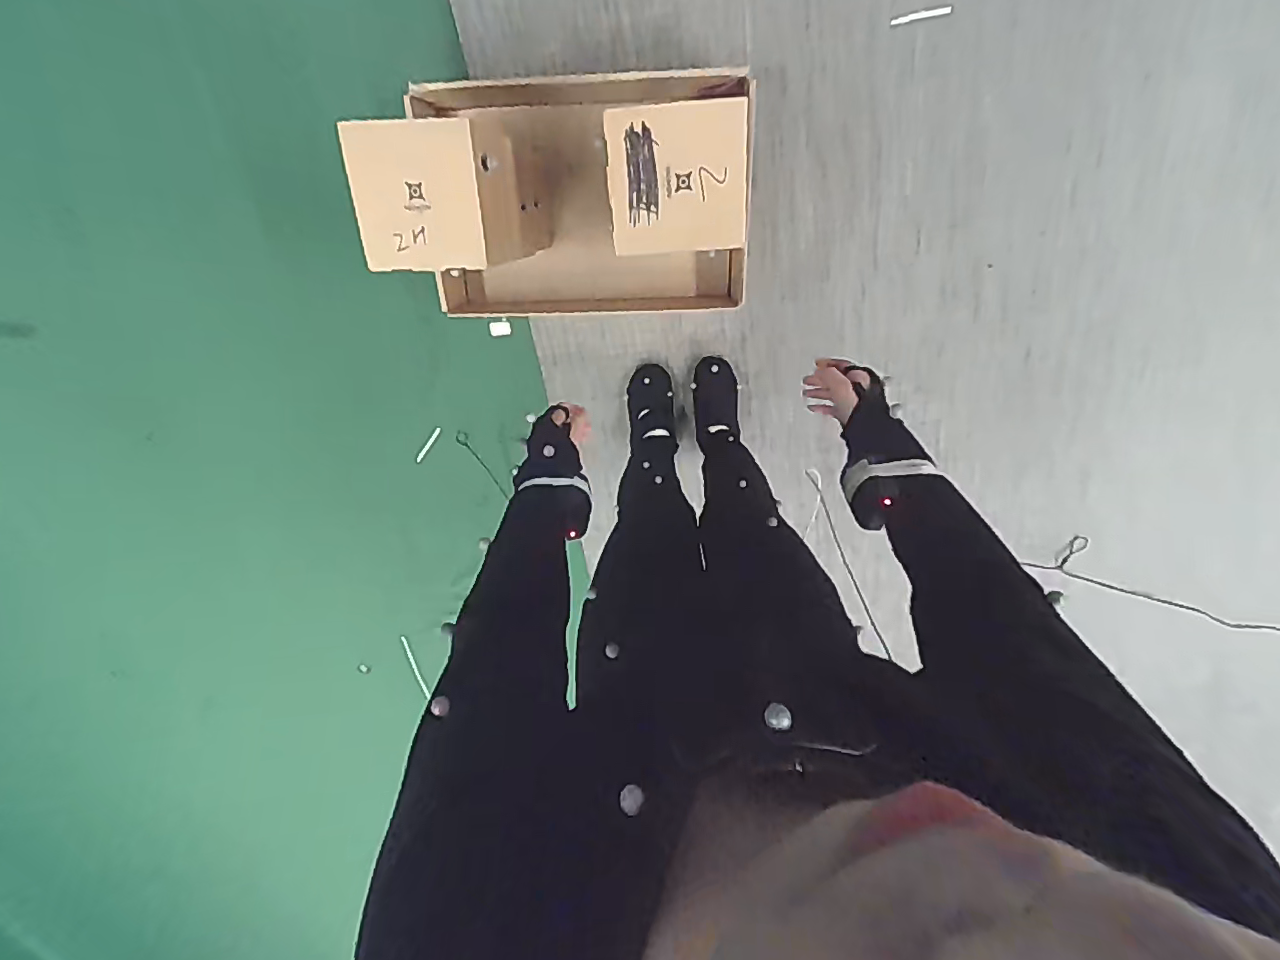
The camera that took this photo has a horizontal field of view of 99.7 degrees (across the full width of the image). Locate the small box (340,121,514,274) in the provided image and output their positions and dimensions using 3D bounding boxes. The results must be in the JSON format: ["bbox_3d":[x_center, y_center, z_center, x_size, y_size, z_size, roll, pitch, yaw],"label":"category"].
[{"bbox_3d":[-0.285,-0.392,0.766,0.168,0.176,0.179,0,116,1],"label":"small box"}]

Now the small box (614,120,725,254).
[{"bbox_3d":[0.048,-0.475,0.895,0.168,0.176,0.179,-1,116,4],"label":"small box"}]

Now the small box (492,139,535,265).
[{"bbox_3d":[-0.277,-0.465,0.914,0.168,0.176,0.179,2,117,0],"label":"small box"}]
